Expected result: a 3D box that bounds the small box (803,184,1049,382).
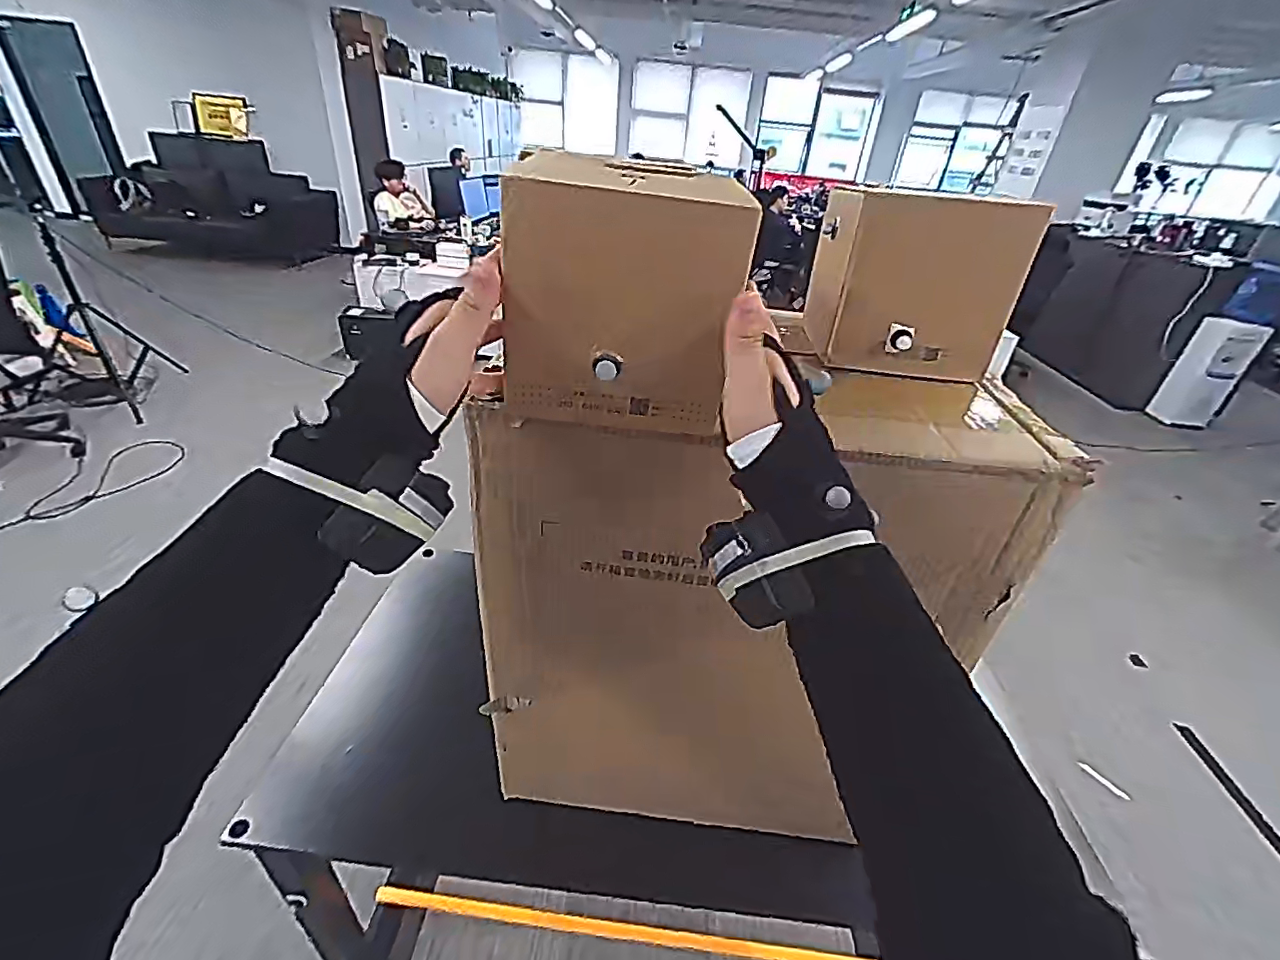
[{"bbox_3d":[0.286,-0.221,0.594,0.168,0.176,0.179,6,31,4],"label":"small box"}]
